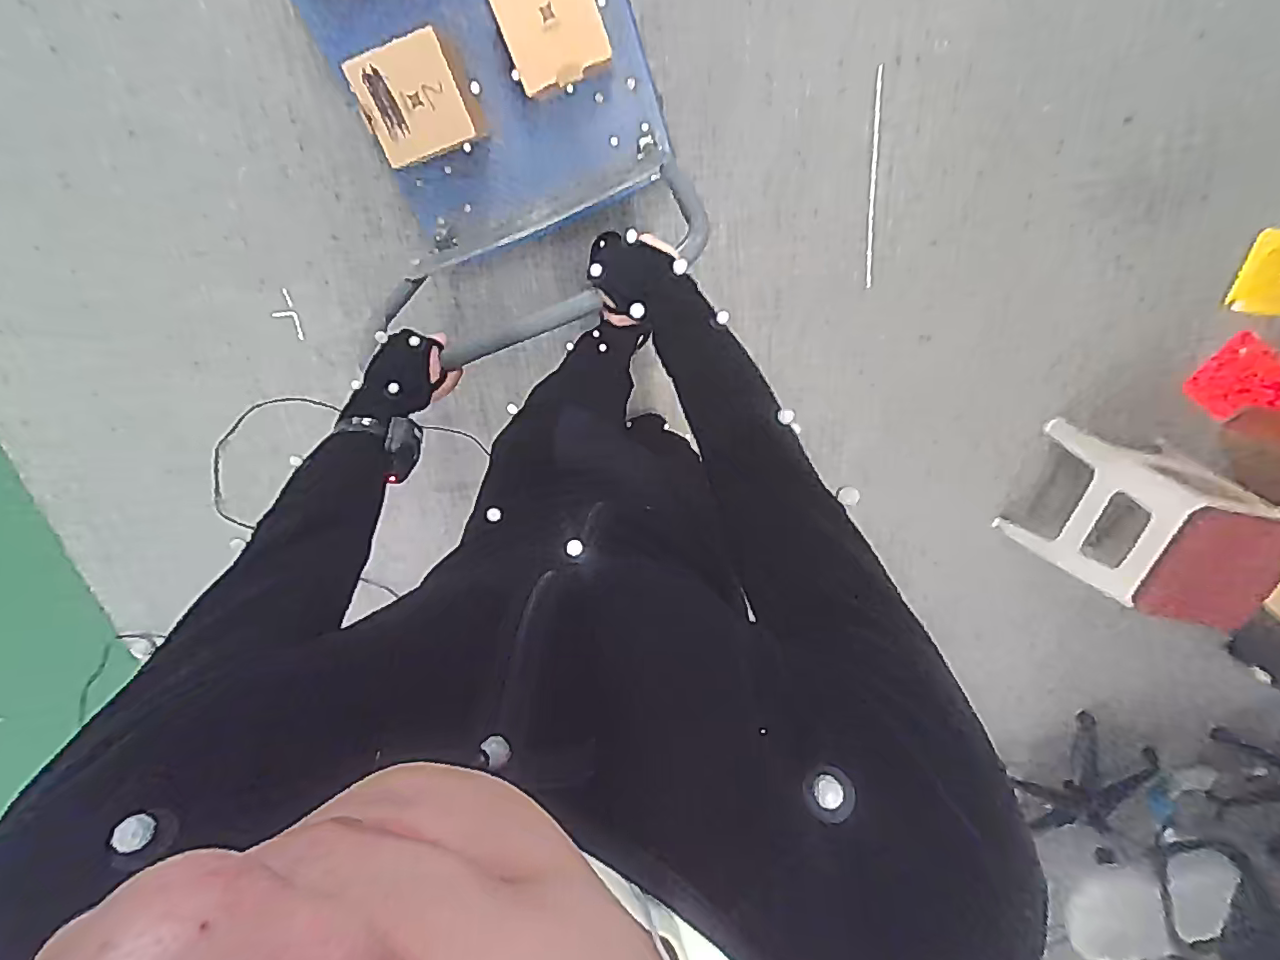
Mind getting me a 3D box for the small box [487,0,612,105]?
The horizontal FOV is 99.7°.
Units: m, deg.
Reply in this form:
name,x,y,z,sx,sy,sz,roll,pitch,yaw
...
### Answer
name,x,y,z,sx,sy,sz,roll,pitch,yaw
small box,-0.159,-0.806,0.971,0.168,0.176,0.179,-19,122,9
